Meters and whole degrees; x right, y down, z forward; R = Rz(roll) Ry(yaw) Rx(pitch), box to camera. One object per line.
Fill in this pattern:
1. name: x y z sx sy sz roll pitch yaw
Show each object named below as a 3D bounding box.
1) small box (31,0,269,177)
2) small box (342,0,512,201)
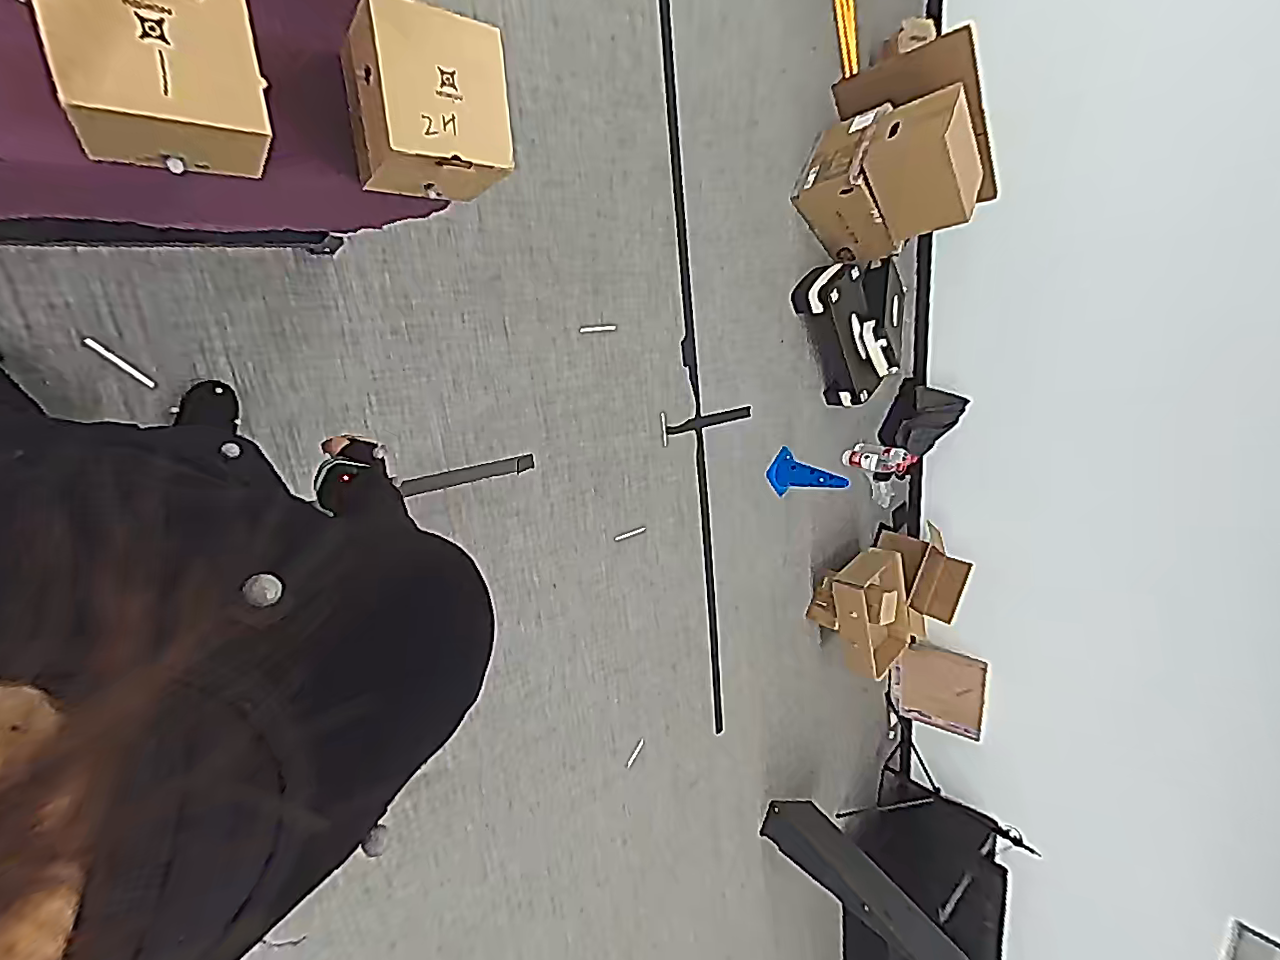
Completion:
1. small box: -0.520 -0.453 0.579 0.168 0.176 0.179 -14 108 -36
2. small box: -0.296 -0.510 0.746 0.168 0.176 0.179 -13 106 -36
